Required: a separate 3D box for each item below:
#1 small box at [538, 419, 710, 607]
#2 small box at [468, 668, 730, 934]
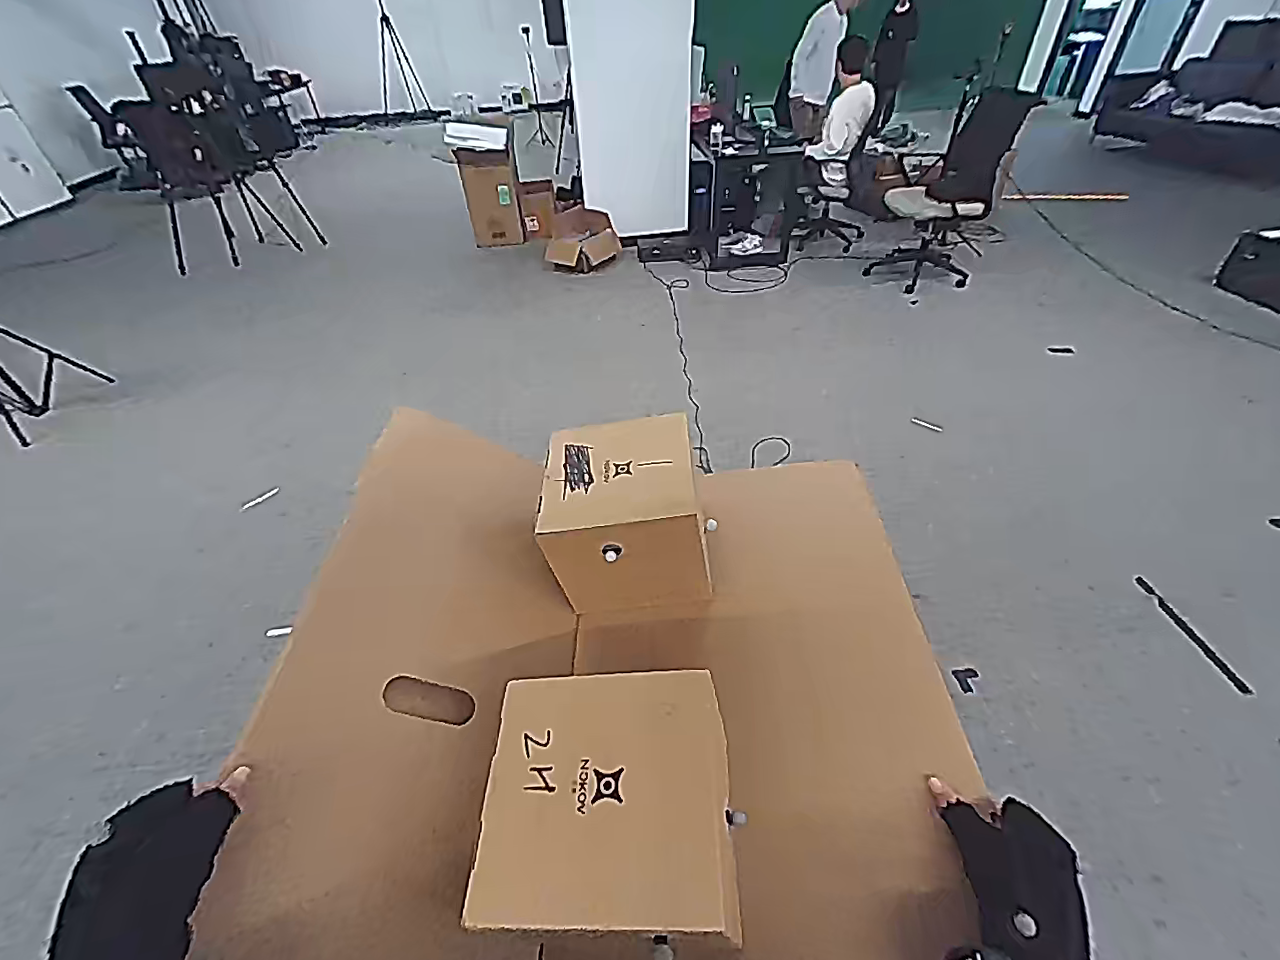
[{"bbox_3d":[-0.011,0.048,0.690,0.179,0.176,0.168,-7,46,8],"label":"small box"},{"bbox_3d":[-0.015,0.278,0.469,0.179,0.176,0.168,-6,46,10],"label":"small box"}]
